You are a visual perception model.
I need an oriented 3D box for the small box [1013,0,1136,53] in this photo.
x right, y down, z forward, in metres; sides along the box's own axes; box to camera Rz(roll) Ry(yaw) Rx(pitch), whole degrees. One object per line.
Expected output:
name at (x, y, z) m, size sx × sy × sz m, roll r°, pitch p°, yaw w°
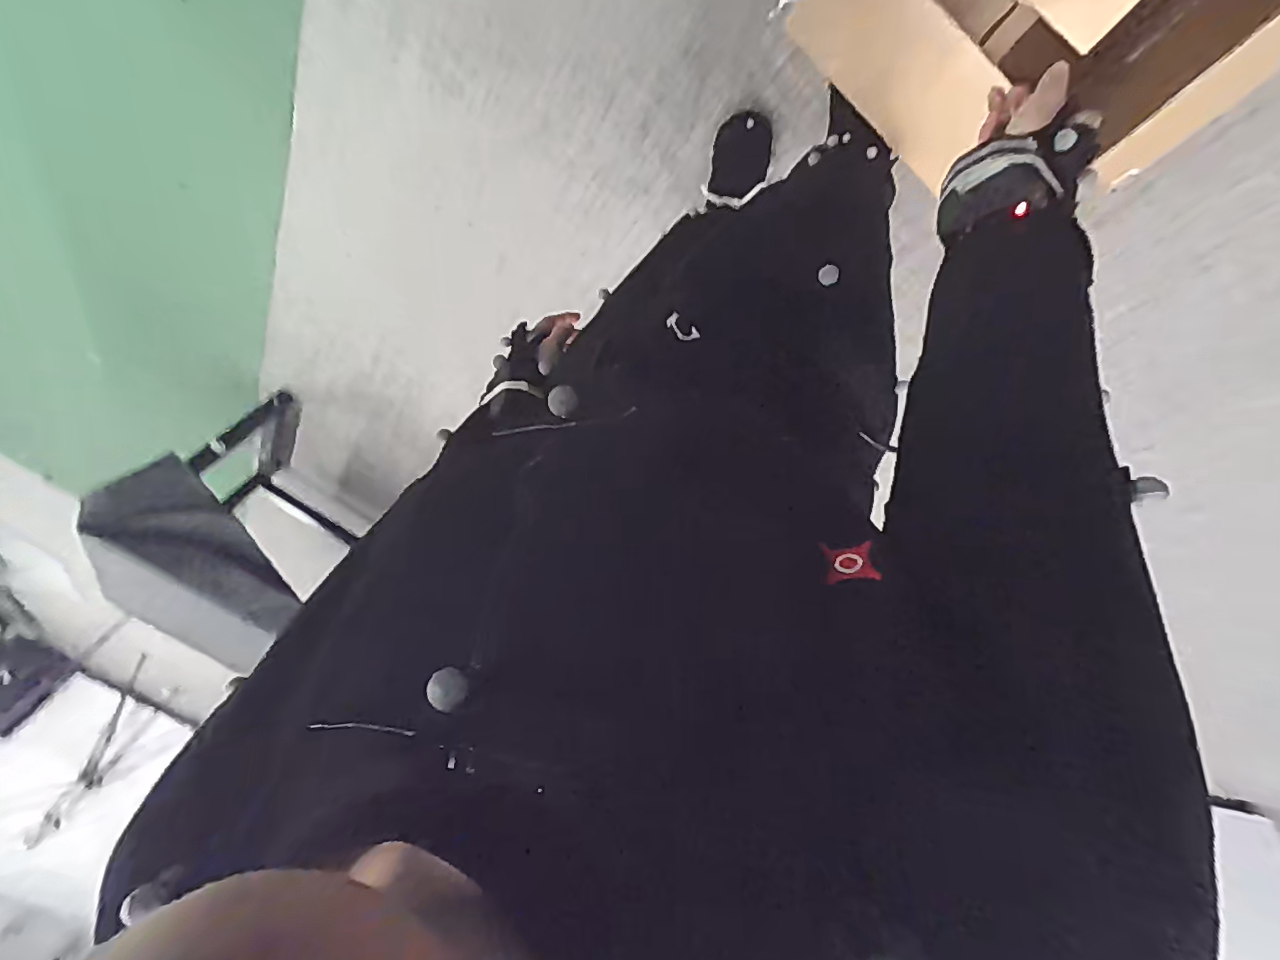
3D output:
small box at (0.385, -0.512, 0.451) m, size 0.168 × 0.176 × 0.179 m, roll 32°, pitch 138°, yaw -9°
